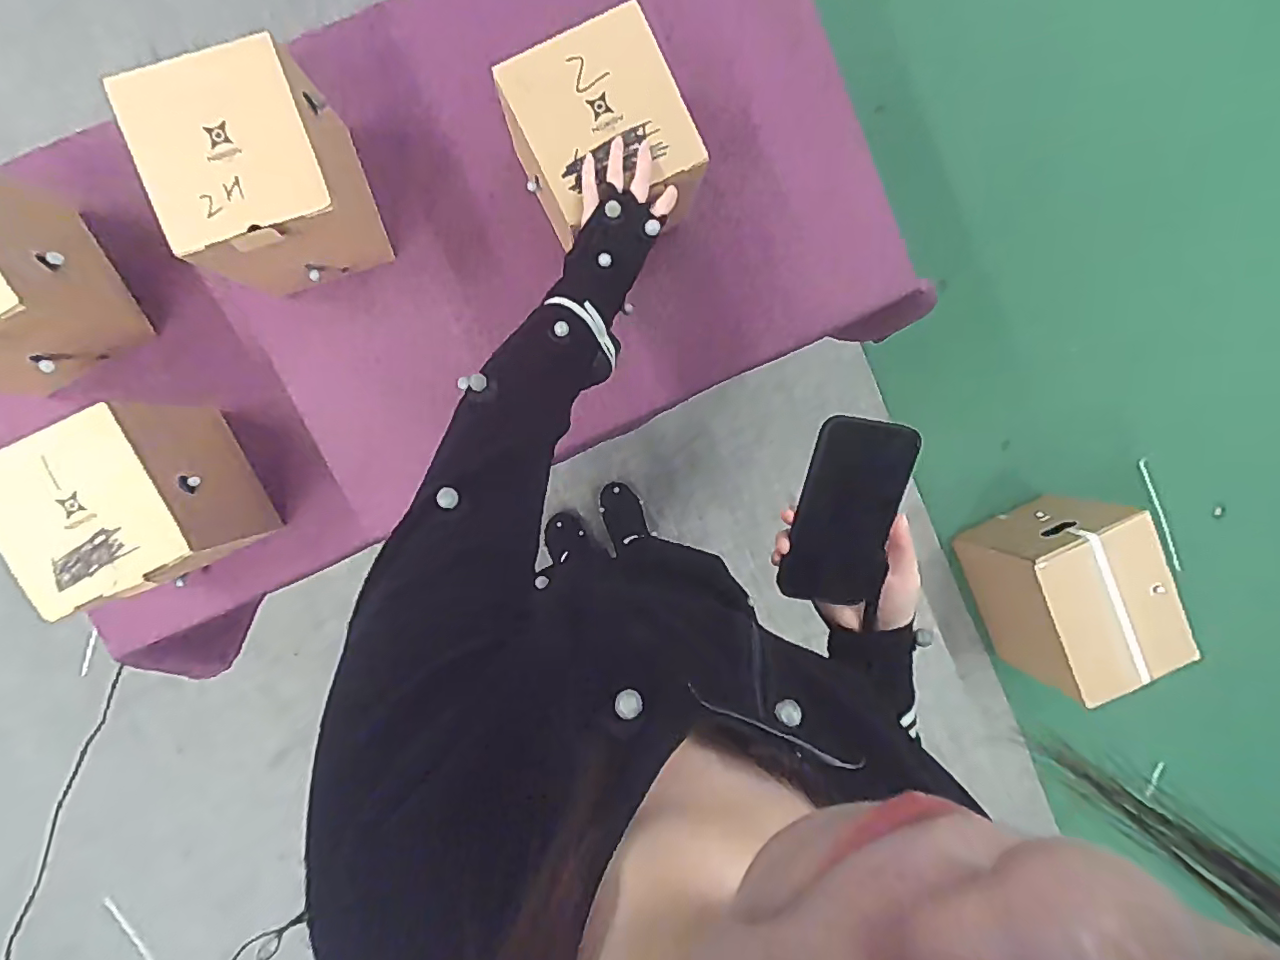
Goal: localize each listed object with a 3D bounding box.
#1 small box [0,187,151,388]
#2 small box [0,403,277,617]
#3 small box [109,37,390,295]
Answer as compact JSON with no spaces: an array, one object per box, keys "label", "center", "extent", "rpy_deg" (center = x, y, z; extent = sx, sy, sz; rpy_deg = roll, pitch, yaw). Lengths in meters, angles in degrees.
[{"label":"small box","center":[-0.718,-0.213,0.601],"extent":[0.168,0.176,0.179],"rpy_deg":[-30,97,-2]},{"label":"small box","center":[-0.577,0.026,0.631],"extent":[0.168,0.176,0.179],"rpy_deg":[-26,95,-2]},{"label":"small box","center":[-0.416,-0.335,0.612],"extent":[0.168,0.176,0.179],"rpy_deg":[-18,96,-2]}]
